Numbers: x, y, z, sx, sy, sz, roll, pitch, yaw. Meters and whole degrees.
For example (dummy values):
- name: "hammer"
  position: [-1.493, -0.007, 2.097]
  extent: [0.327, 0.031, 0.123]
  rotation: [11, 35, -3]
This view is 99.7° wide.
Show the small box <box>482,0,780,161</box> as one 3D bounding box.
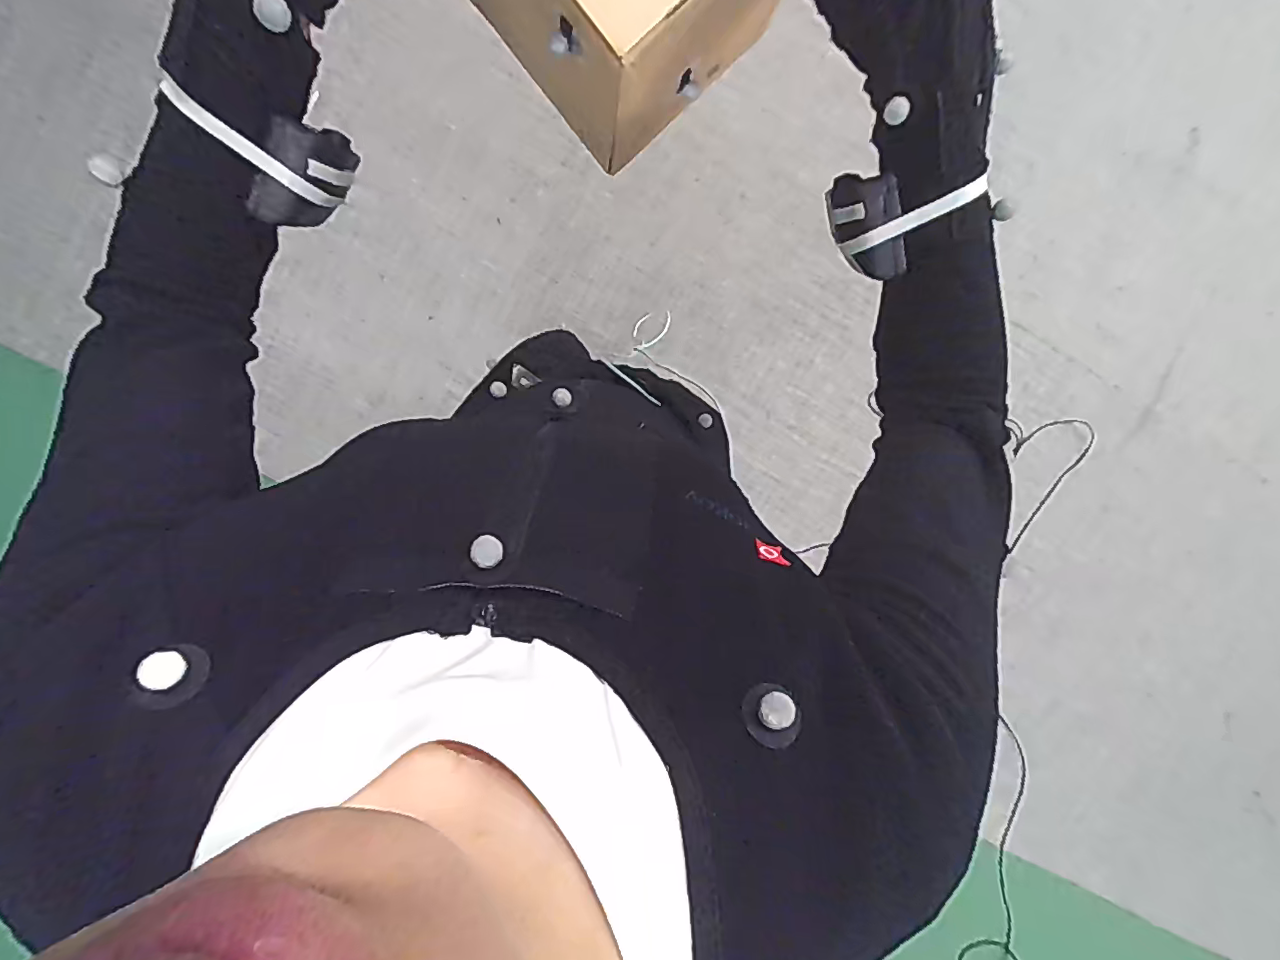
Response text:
- name: "small box"
  position: [-0.009, -0.352, 0.345]
  extent: [0.168, 0.176, 0.179]
  rotation: [-41, 103, 3]
